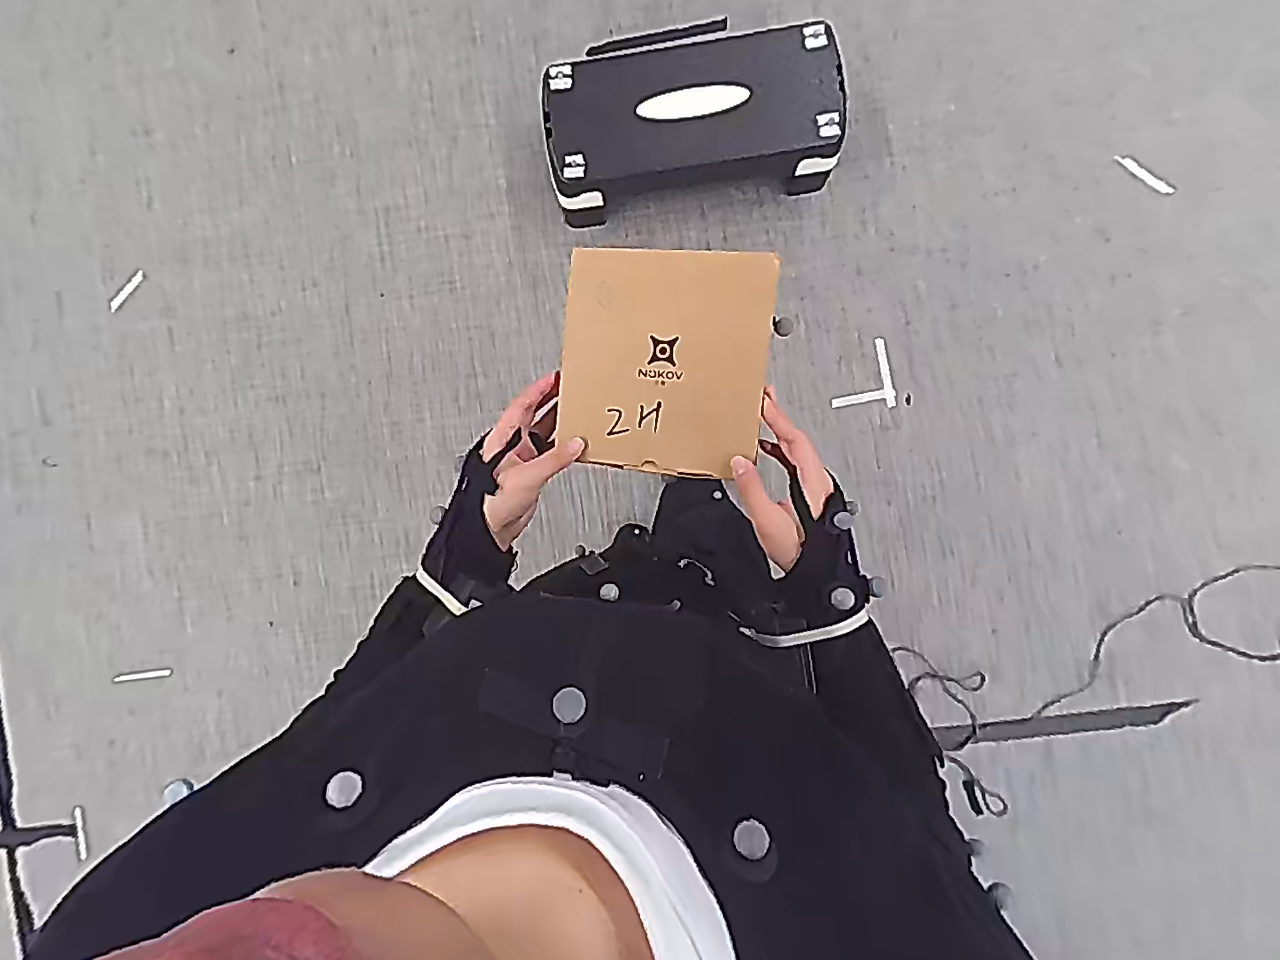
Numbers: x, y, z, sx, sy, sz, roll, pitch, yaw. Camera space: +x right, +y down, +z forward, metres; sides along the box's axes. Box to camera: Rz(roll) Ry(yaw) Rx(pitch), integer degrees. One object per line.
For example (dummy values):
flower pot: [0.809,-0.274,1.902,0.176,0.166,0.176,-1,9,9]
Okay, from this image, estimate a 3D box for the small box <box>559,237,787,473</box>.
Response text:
small box: [0.039,-0.103,0.501,0.168,0.176,0.179,7,94,13]

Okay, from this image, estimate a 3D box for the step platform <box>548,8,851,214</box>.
step platform: [0.132,-0.852,1.269,0.684,0.204,0.286,-8,89,3]
